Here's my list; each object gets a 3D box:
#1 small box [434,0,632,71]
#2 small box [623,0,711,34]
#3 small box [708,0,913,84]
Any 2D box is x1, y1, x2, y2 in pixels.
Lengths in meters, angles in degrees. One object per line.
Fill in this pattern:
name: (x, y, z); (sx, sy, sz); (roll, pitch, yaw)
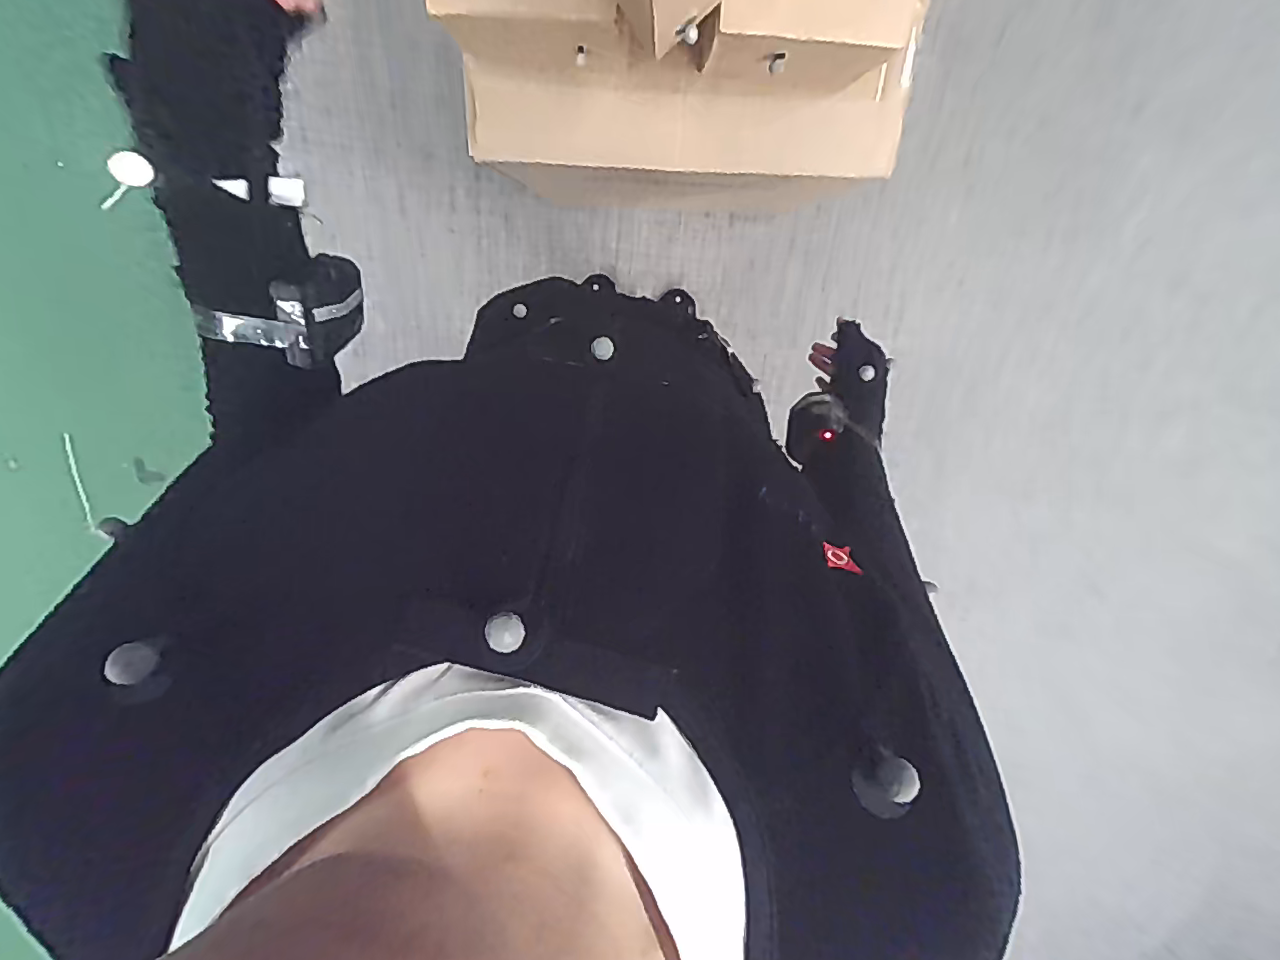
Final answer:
small box: (-0.095, -0.527, 0.532); (0.179, 0.176, 0.168); (2, 113, 1)
small box: (0.027, -0.464, 0.377); (0.168, 0.176, 0.179); (-35, 108, 16)
small box: (0.165, -0.512, 0.533); (0.179, 0.176, 0.168); (5, 116, 0)
